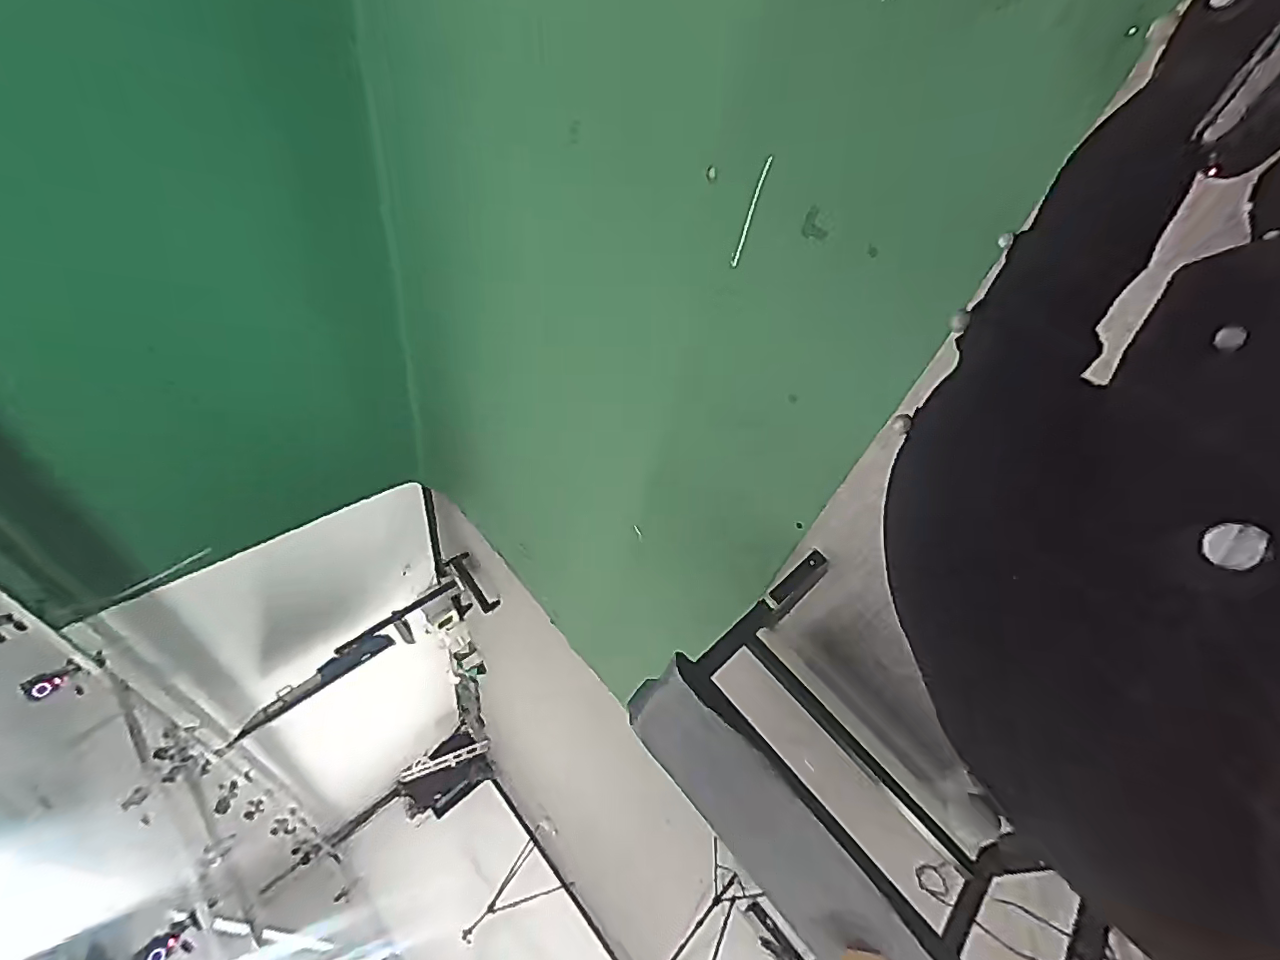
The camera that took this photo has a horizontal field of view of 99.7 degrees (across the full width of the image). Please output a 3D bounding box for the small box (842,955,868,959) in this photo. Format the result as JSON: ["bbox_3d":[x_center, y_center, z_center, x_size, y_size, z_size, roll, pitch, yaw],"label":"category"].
[{"bbox_3d":[0.576,1.354,1.363,0.168,0.176,0.179,48,144,18],"label":"small box"}]
